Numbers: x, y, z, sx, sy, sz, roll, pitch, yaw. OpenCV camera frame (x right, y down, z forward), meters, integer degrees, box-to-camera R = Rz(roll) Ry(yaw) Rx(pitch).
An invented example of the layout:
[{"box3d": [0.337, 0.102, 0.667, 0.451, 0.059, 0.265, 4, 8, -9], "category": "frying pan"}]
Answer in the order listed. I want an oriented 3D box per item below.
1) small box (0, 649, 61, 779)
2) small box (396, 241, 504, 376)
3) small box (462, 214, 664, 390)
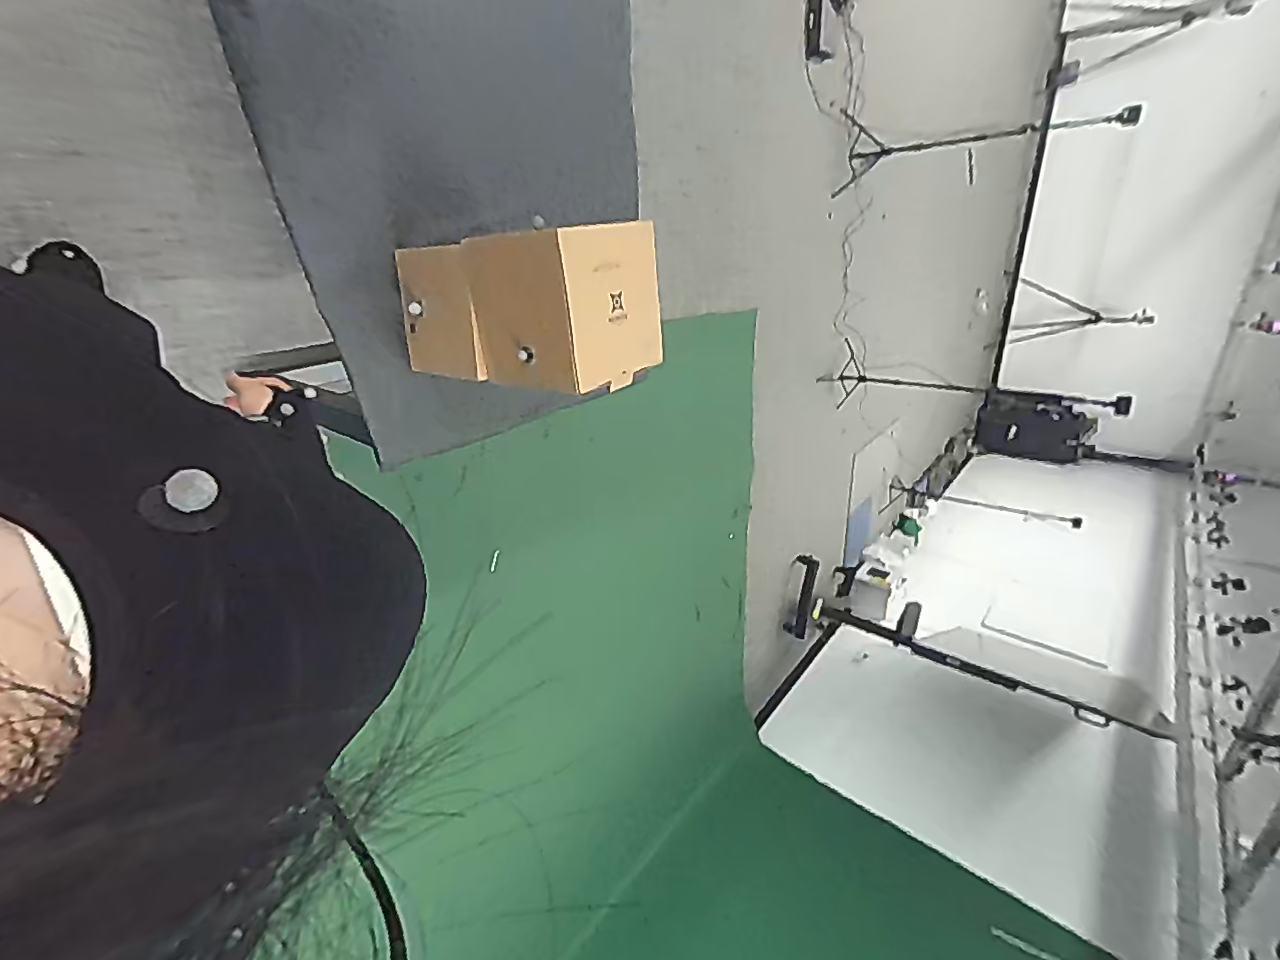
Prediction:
[{"box3d": [-1.209, 0.442, 0.987, 0.179, 0.176, 0.168, -20, 118, -46], "category": "small box"}, {"box3d": [-0.215, -0.245, 0.769, 0.179, 0.176, 0.168, -21, 118, -47], "category": "small box"}, {"box3d": [-0.090, -0.222, 0.668, 0.168, 0.176, 0.179, -33, 125, -44], "category": "small box"}]
